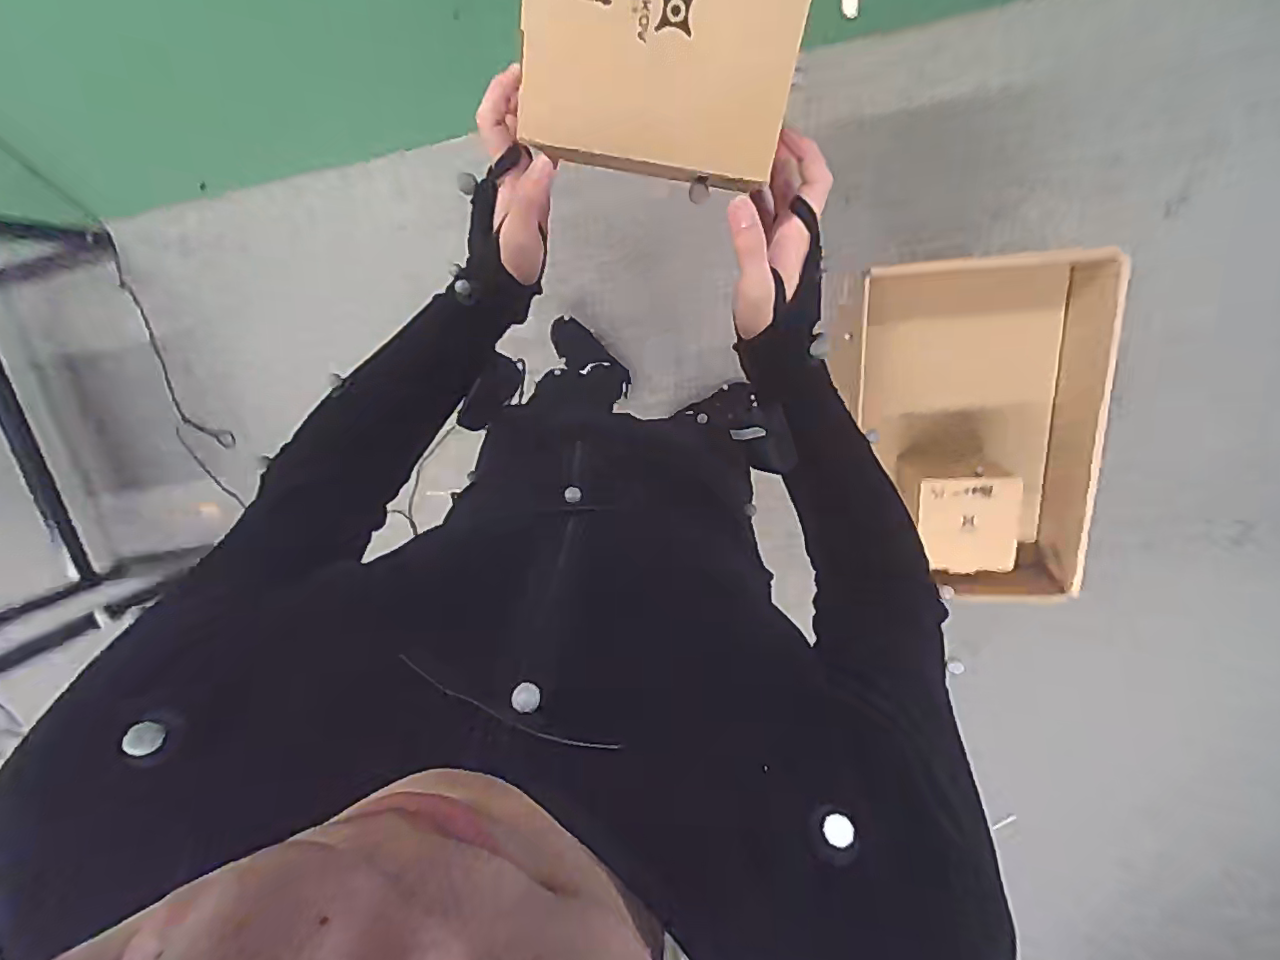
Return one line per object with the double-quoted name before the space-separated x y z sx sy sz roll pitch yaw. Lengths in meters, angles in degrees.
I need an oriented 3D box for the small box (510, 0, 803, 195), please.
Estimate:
"small box" 0.015 -0.317 0.403 0.179 0.176 0.168 10 117 2
